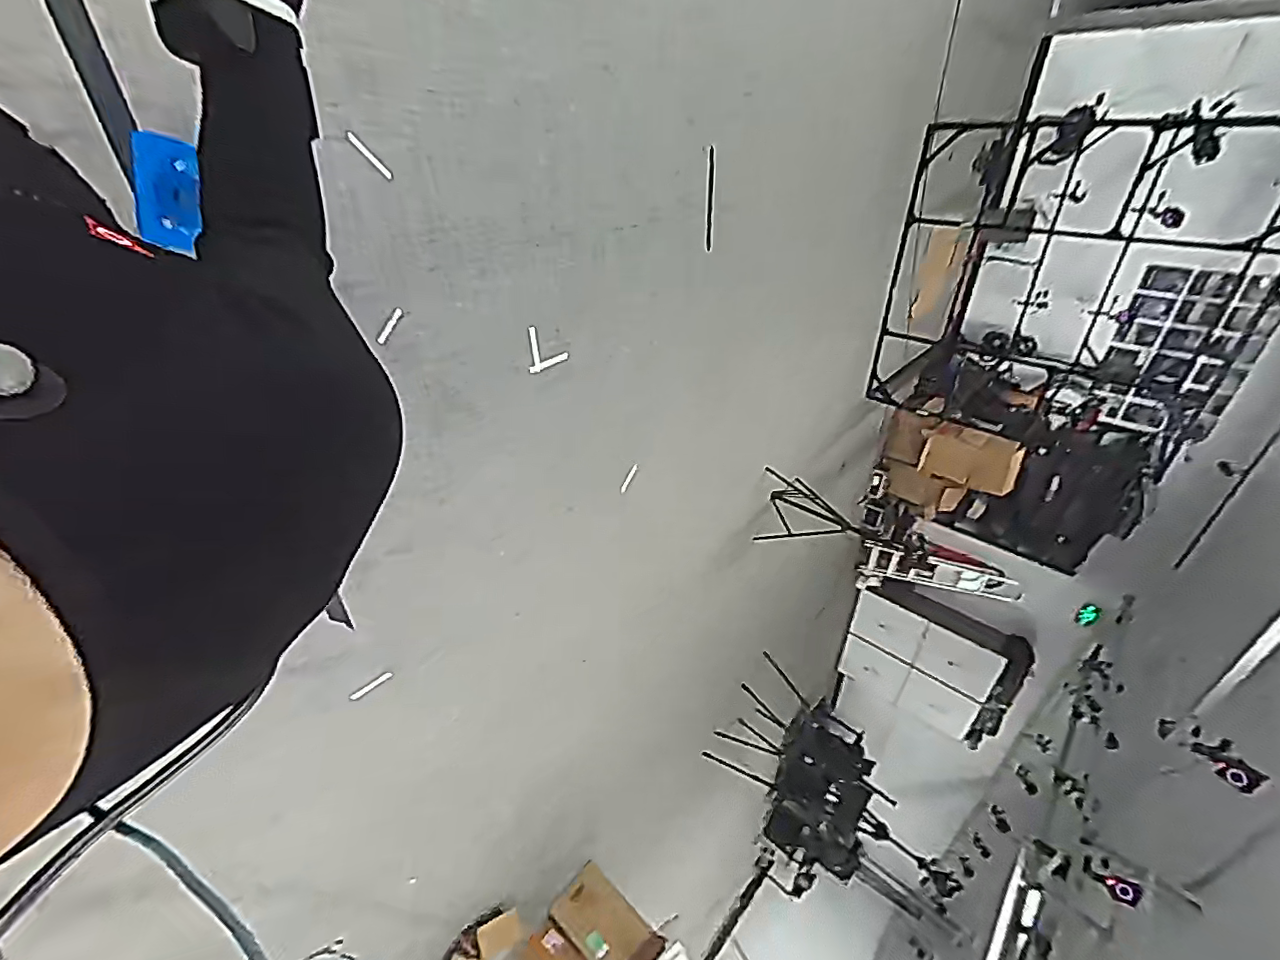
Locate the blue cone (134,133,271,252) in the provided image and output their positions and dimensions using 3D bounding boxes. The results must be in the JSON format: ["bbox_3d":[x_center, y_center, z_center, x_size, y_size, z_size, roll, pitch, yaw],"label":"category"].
[{"bbox_3d":[-0.769,-0.515,1.002,0.193,0.380,0.192,-9,118,-50],"label":"blue cone"}]
